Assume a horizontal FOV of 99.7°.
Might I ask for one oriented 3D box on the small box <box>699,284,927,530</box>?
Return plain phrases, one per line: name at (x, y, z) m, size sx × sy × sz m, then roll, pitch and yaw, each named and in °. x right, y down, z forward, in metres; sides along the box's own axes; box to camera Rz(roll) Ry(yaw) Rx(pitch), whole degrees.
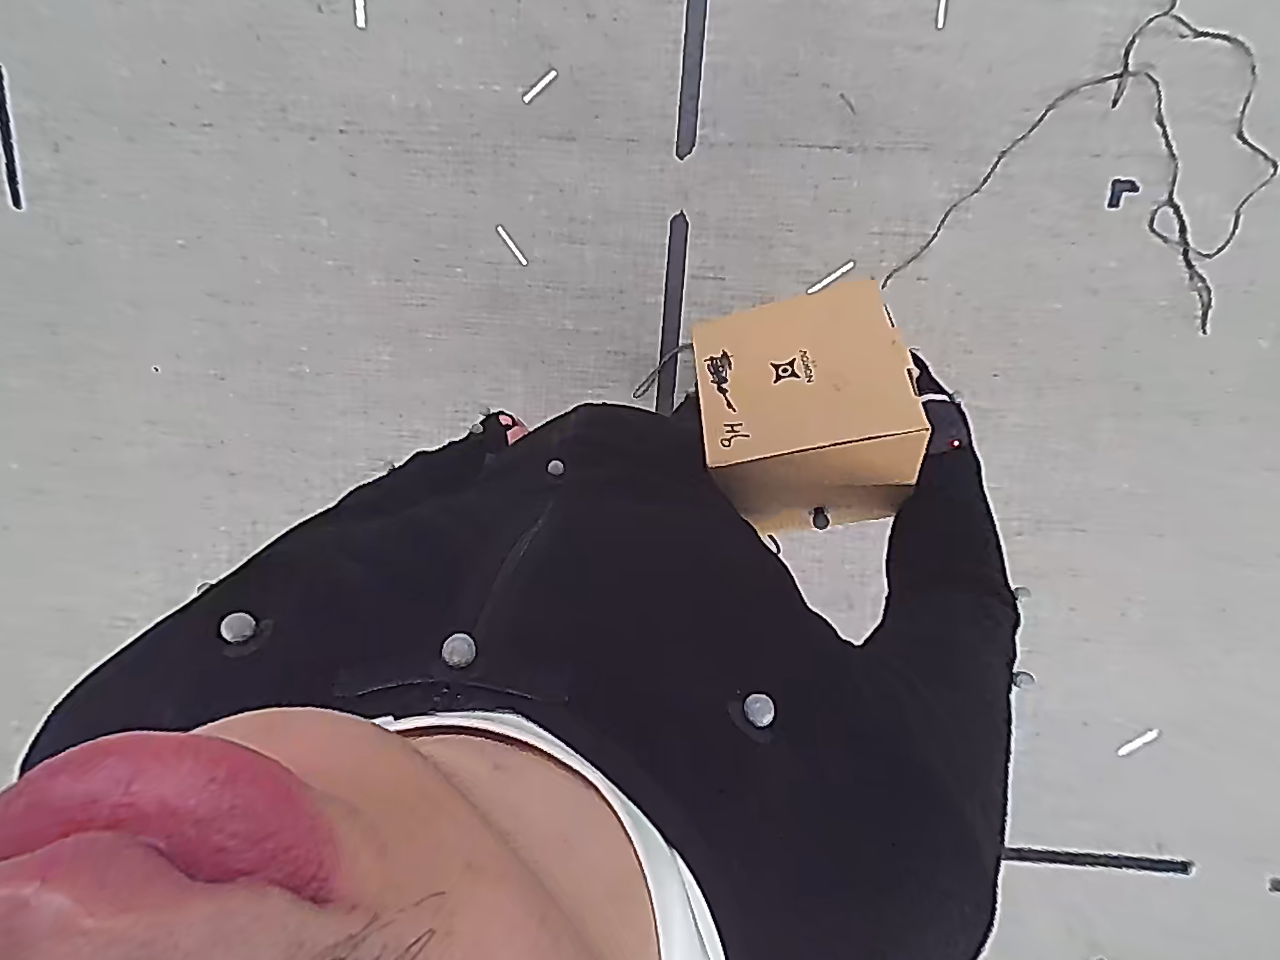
small box at (0.167, -0.062, 0.554) m, size 0.179 × 0.176 × 0.168 m, roll -10°, pitch 59°, yaw 14°
